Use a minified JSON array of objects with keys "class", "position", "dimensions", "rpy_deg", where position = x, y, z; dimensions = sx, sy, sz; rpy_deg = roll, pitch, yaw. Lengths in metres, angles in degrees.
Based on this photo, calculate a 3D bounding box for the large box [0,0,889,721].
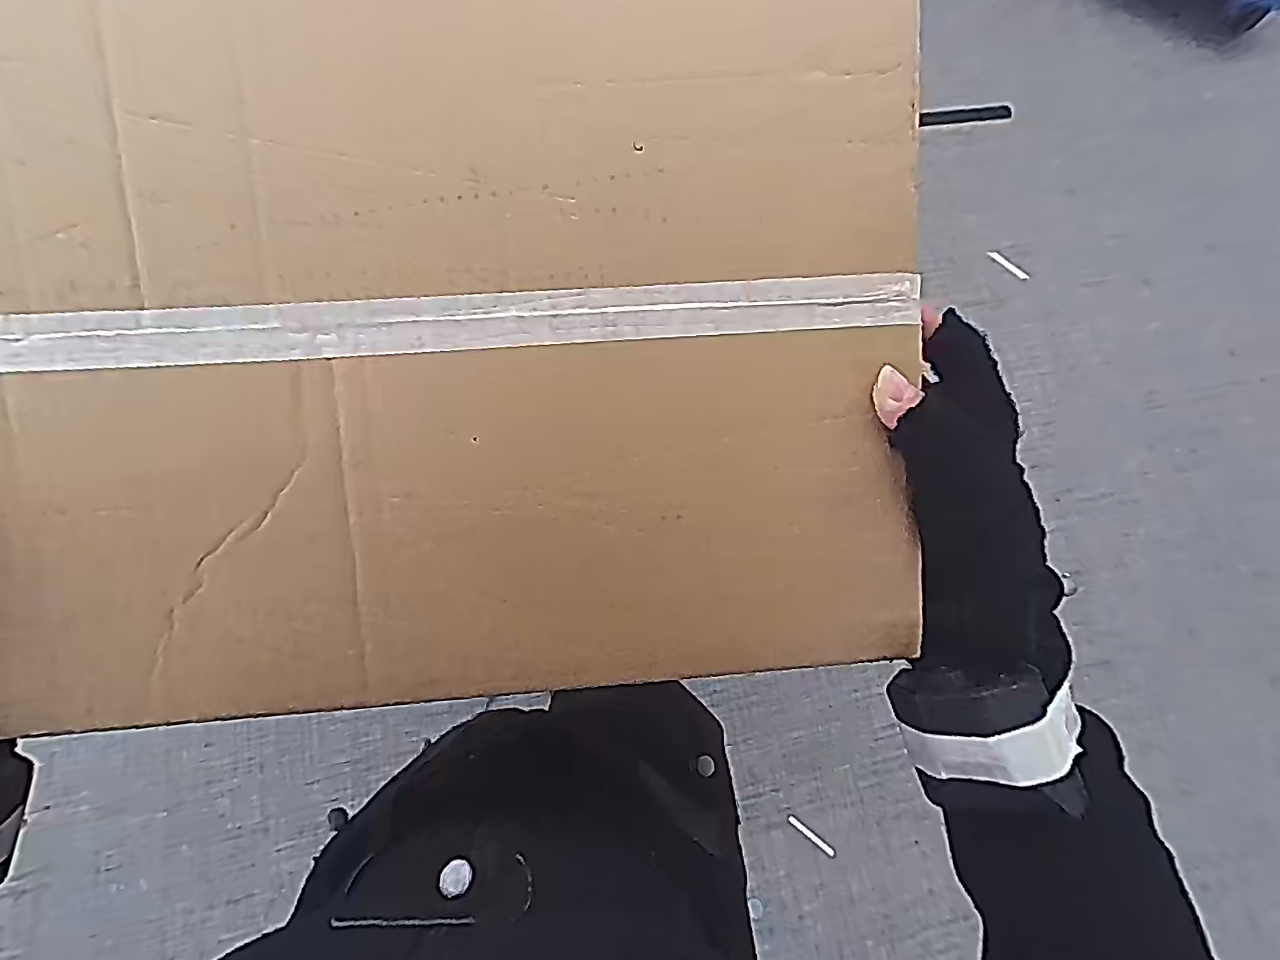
[{"class":"large box","position":[-0.097,-0.078,0.375],"dimensions":[0.408,0.320,0.320],"rpy_deg":[-3,96,-4]}]
